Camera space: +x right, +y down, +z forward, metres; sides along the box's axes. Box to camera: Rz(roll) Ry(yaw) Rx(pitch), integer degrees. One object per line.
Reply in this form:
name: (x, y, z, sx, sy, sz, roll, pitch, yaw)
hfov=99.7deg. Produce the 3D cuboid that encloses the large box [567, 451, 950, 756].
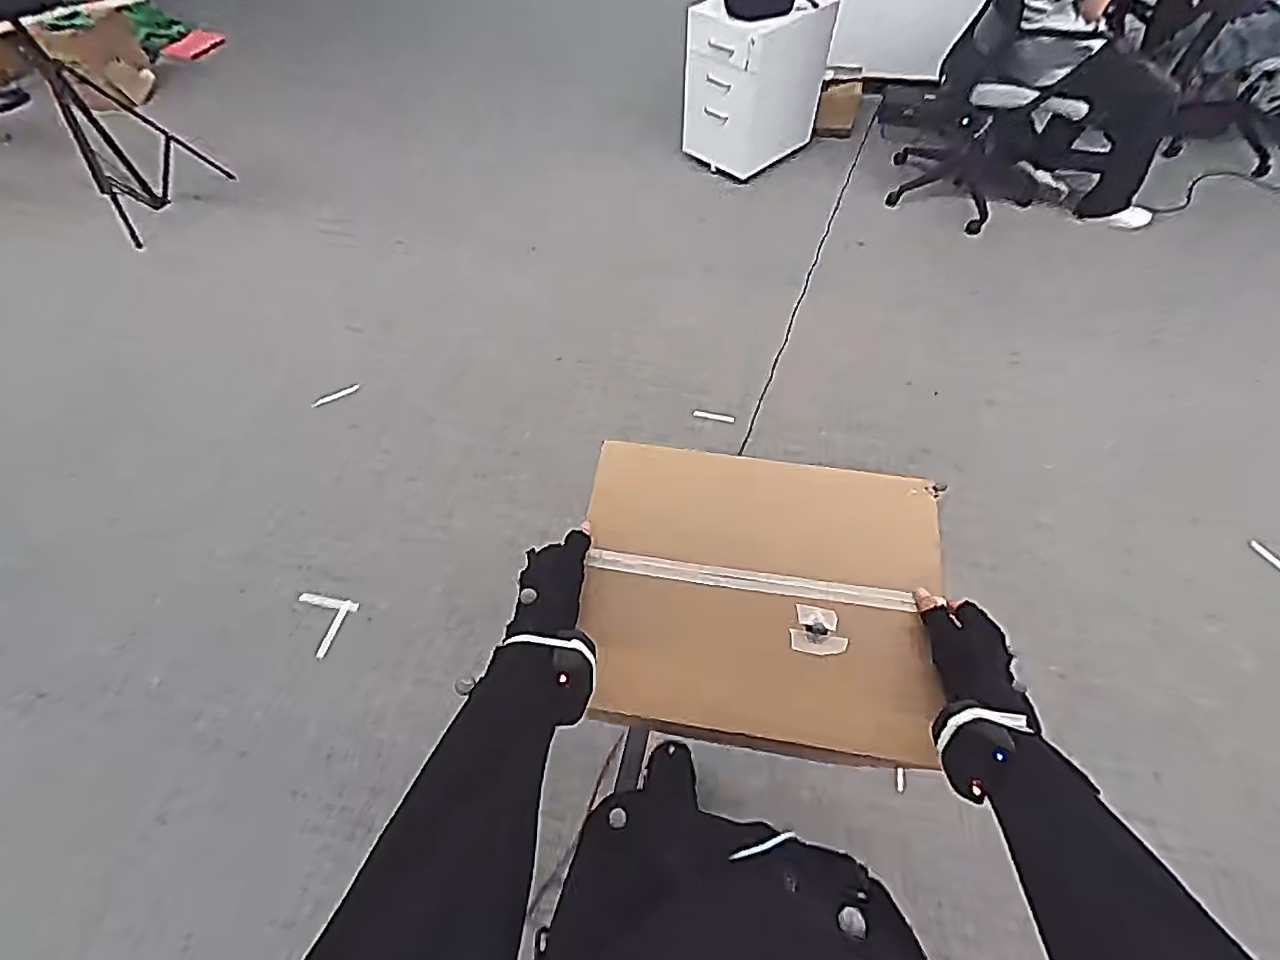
large box: (0.138, 0.186, 0.756, 0.408, 0.320, 0.320, 8, 64, 5)
